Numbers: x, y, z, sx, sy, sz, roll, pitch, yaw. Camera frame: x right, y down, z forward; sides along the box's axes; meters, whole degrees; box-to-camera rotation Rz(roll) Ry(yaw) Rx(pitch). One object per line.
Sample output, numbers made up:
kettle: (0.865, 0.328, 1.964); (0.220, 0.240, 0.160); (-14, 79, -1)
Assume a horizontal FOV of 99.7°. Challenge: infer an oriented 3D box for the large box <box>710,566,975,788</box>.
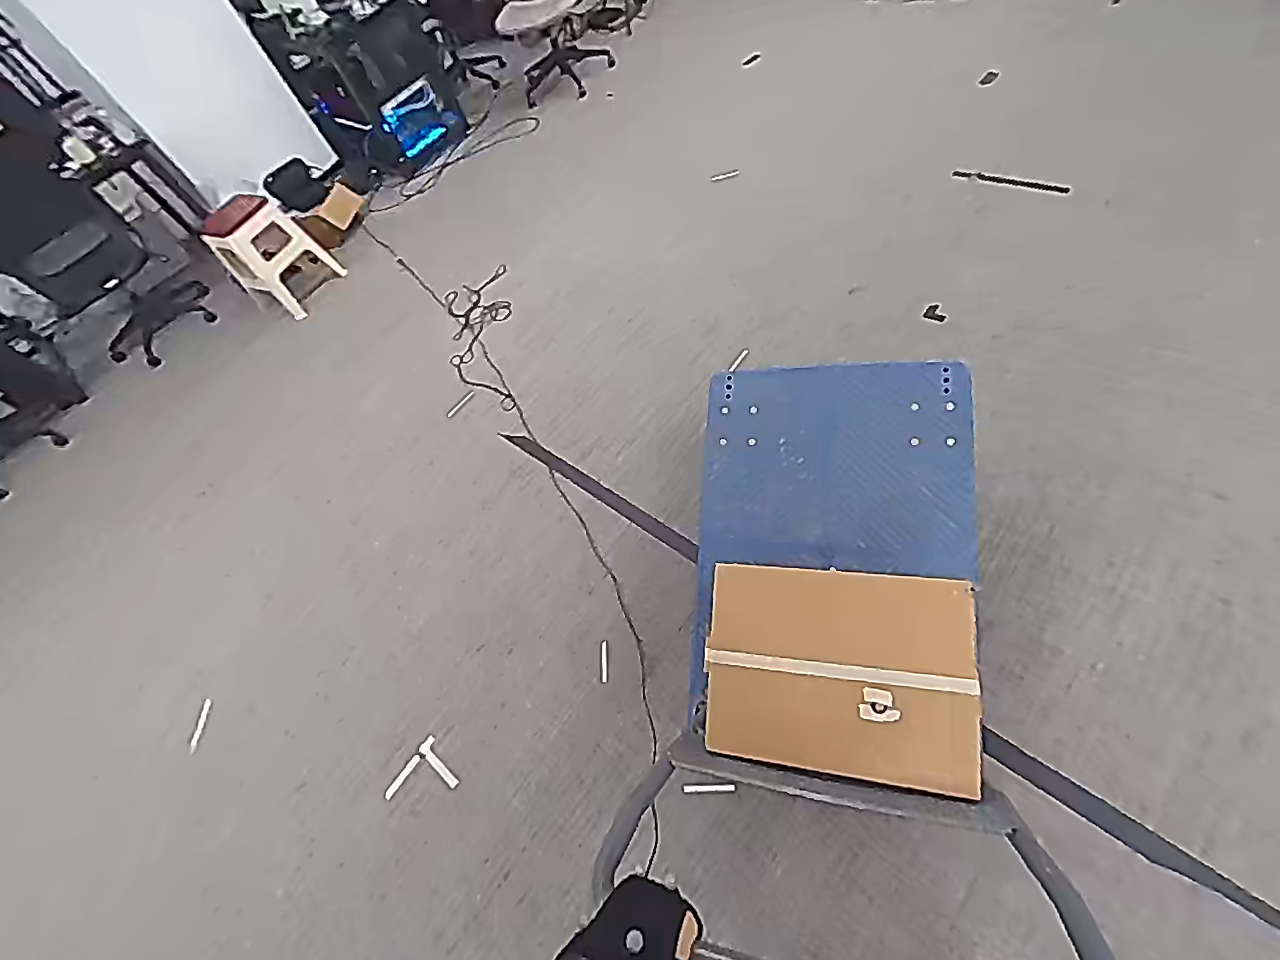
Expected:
large box: (0.358, 0.339, 1.023); (0.408, 0.320, 0.320); (1, 78, 18)
